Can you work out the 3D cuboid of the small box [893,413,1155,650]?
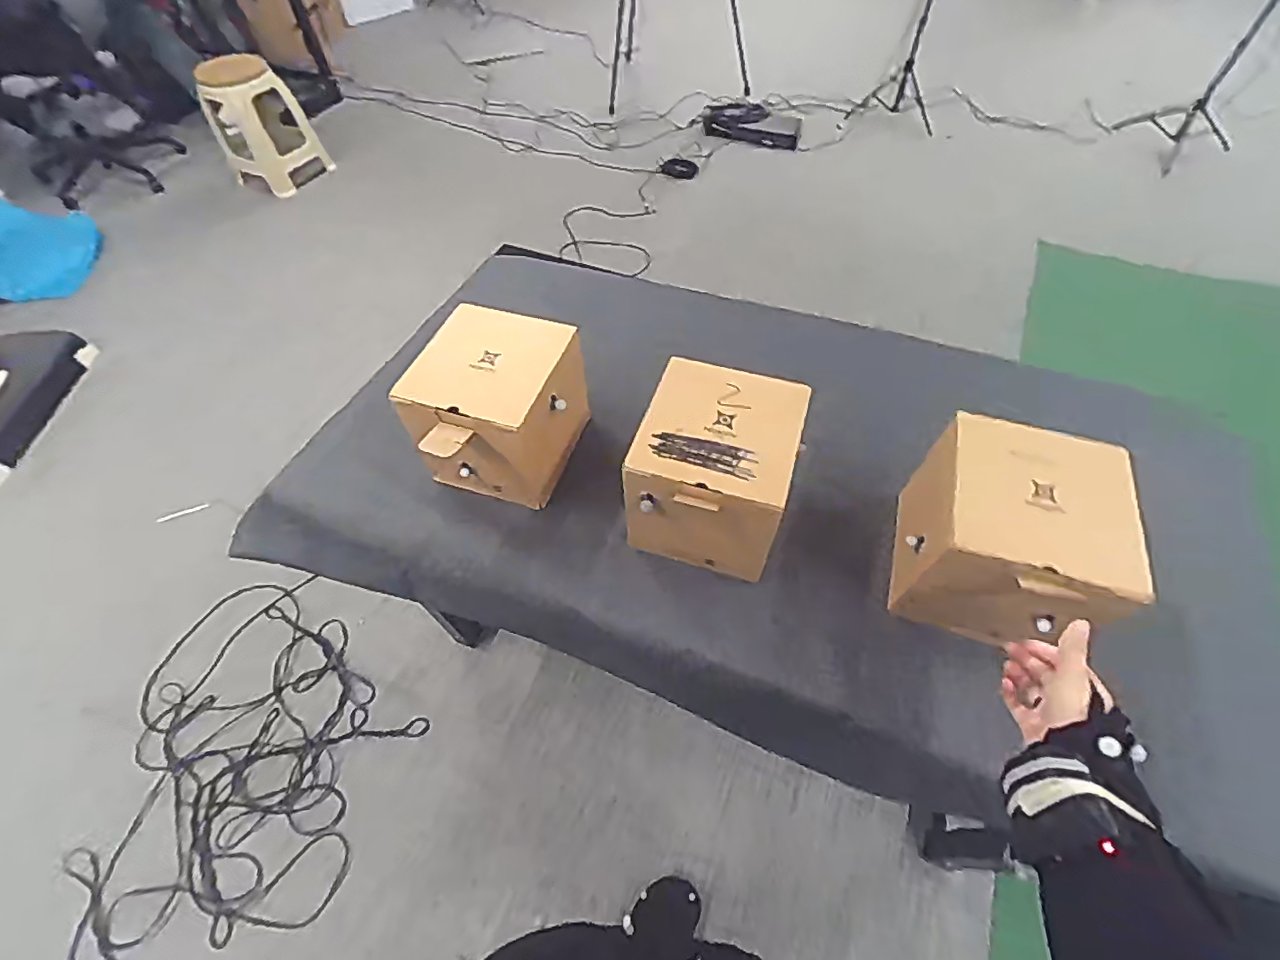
[{"bbox_3d":[0.391,0.061,0.586,0.168,0.176,0.179,15,56,11],"label":"small box"}]

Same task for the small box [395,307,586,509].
[{"bbox_3d":[-0.176,-0.092,0.708,0.168,0.176,0.179,14,57,11],"label":"small box"}]
